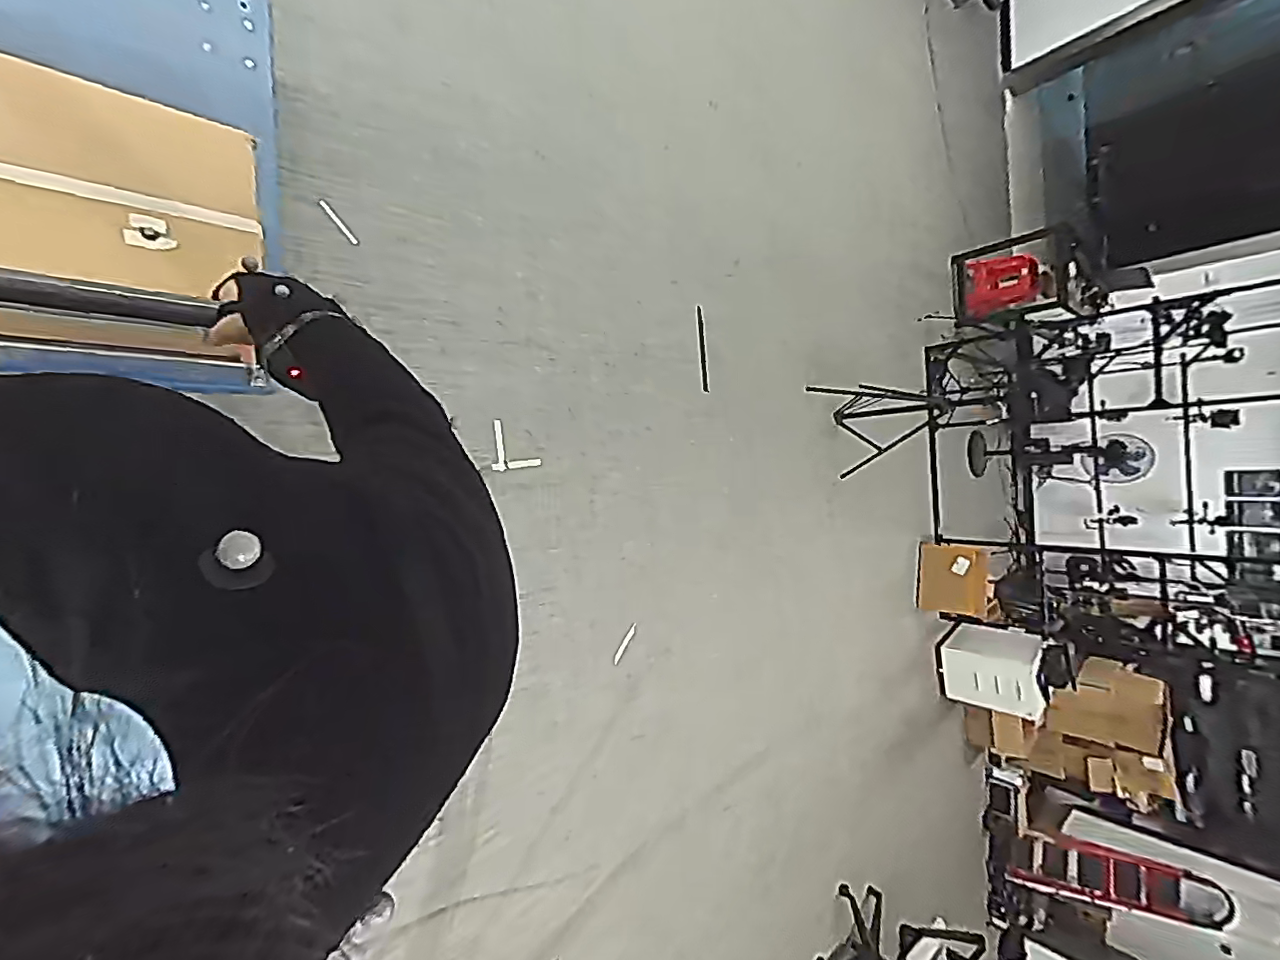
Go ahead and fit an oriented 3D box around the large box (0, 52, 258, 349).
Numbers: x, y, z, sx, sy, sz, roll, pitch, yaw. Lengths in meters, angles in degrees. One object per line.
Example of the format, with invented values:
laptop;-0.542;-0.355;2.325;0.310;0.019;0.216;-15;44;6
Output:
large box;-0.891;-0.412;0.869;0.408;0.320;0.320;-3;92;-43
